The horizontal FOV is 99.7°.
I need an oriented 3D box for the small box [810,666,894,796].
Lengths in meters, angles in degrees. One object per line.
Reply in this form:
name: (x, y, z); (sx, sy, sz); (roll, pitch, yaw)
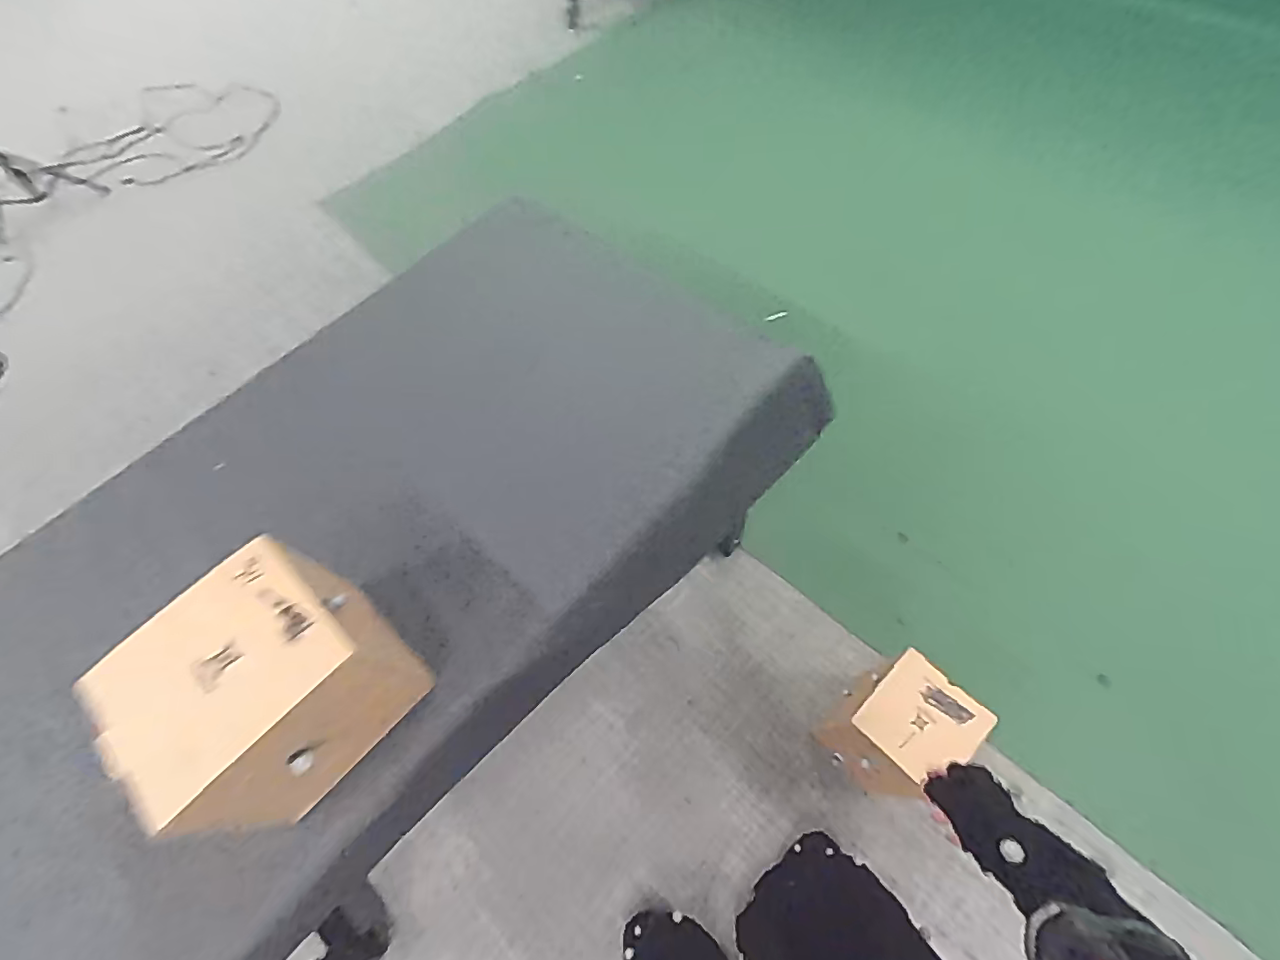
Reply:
small box: (0.475, 0.515, 1.116); (0.179, 0.176, 0.168); (-41, 66, -15)

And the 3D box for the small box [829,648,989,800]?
small box: (0.467, 0.436, 0.972); (0.179, 0.176, 0.168); (-40, 66, -15)

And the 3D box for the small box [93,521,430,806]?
small box: (-0.344, 0.179, 0.525); (0.168, 0.176, 0.179); (39, 71, 22)
